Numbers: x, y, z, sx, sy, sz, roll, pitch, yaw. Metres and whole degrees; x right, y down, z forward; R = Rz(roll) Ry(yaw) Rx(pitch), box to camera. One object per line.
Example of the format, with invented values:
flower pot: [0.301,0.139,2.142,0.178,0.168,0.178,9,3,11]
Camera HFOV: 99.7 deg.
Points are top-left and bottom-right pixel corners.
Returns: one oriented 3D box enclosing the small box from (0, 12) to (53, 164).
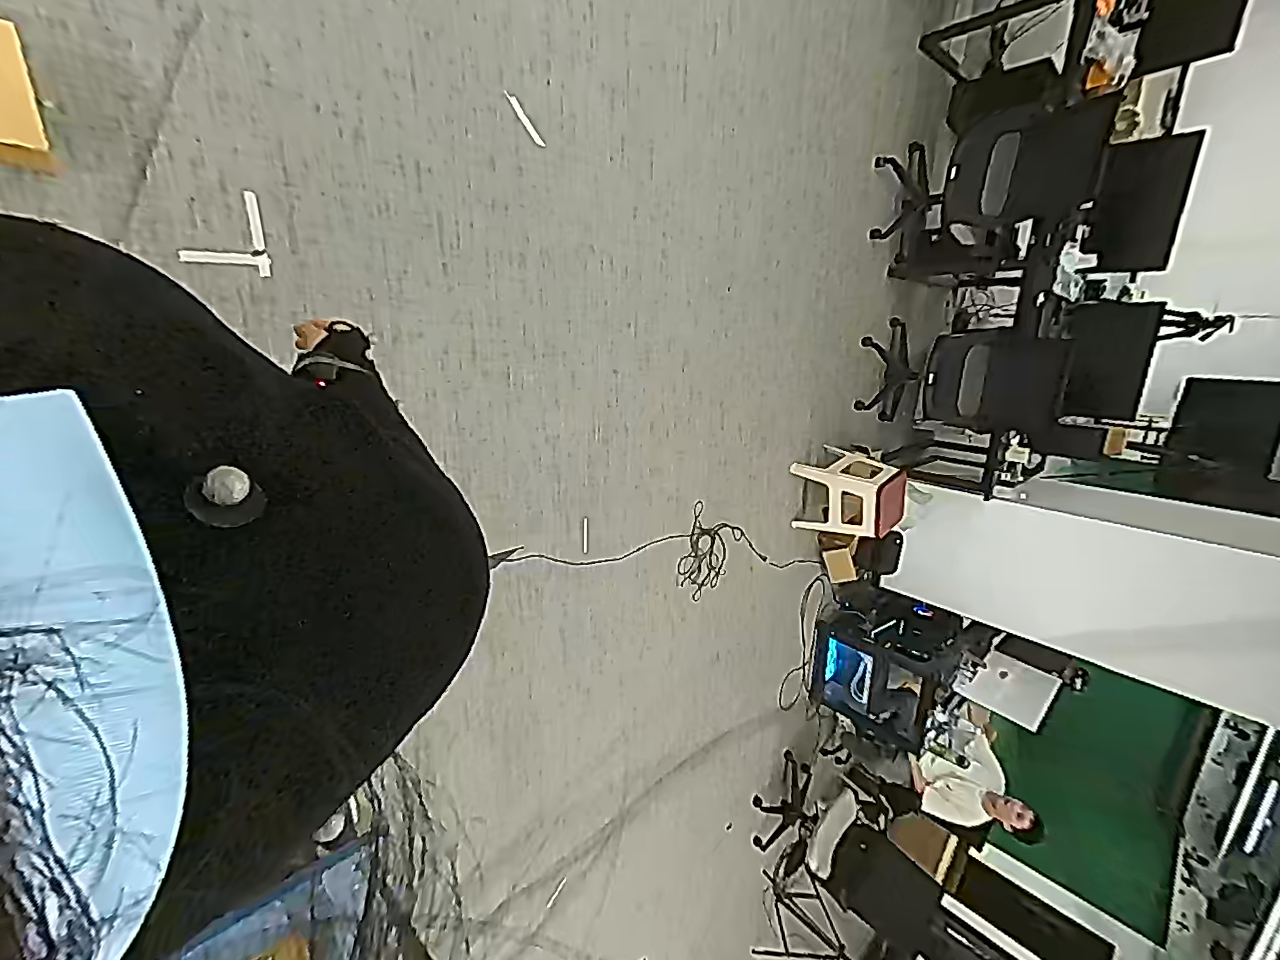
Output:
small box: [-1.057,-0.617,0.840,0.168,0.176,0.179,-15,113,-41]
